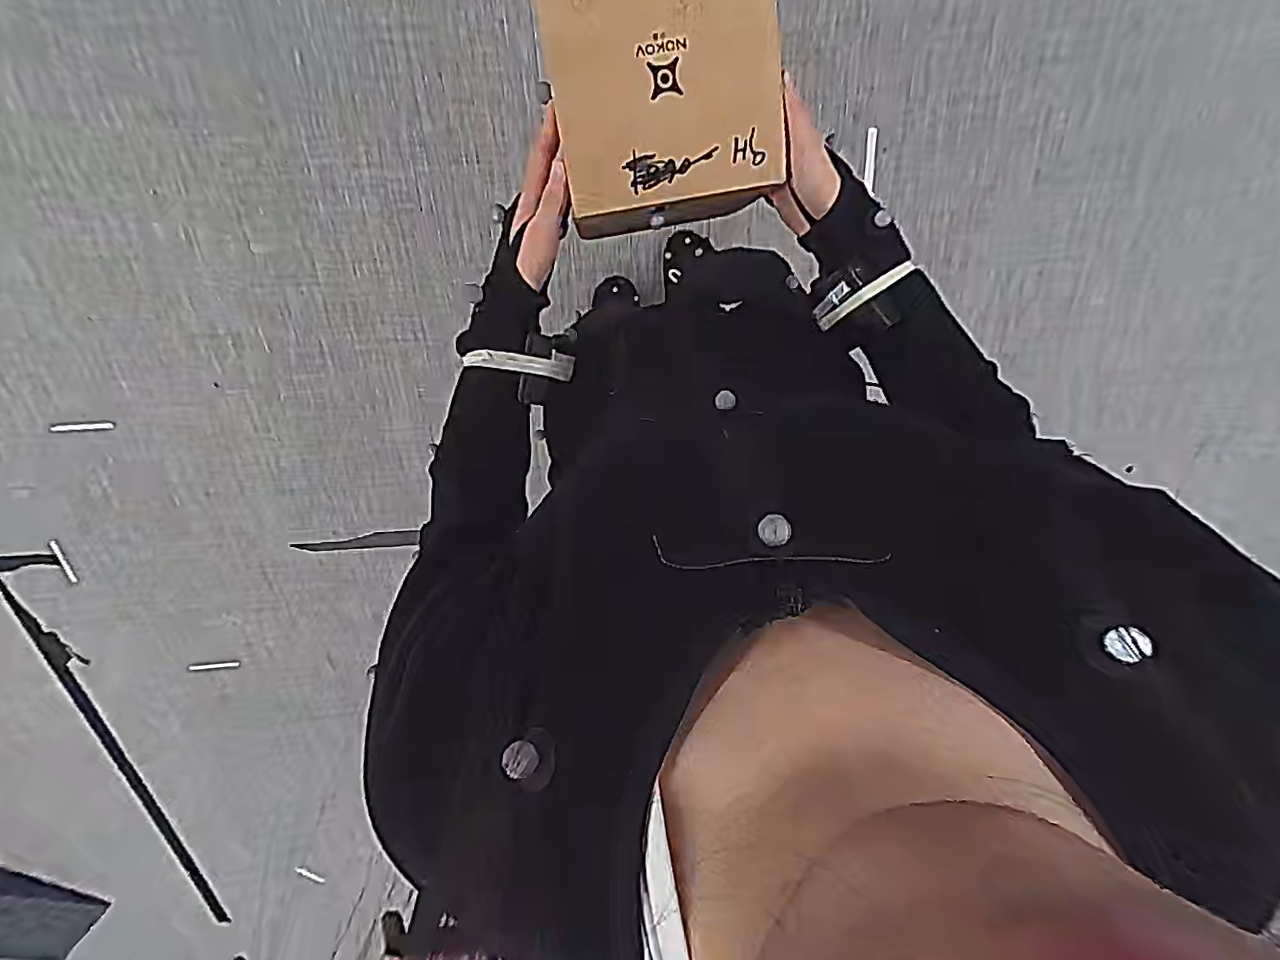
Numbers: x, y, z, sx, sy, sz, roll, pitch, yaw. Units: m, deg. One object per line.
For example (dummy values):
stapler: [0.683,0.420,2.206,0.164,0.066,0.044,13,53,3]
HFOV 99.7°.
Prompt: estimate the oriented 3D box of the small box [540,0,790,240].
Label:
small box: [0.013,-0.315,0.453,0.168,0.176,0.179,-10,109,-1]

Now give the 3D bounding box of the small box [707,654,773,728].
small box: [0.333,0.709,1.828,0.179,0.176,0.168,-2,114,-3]
